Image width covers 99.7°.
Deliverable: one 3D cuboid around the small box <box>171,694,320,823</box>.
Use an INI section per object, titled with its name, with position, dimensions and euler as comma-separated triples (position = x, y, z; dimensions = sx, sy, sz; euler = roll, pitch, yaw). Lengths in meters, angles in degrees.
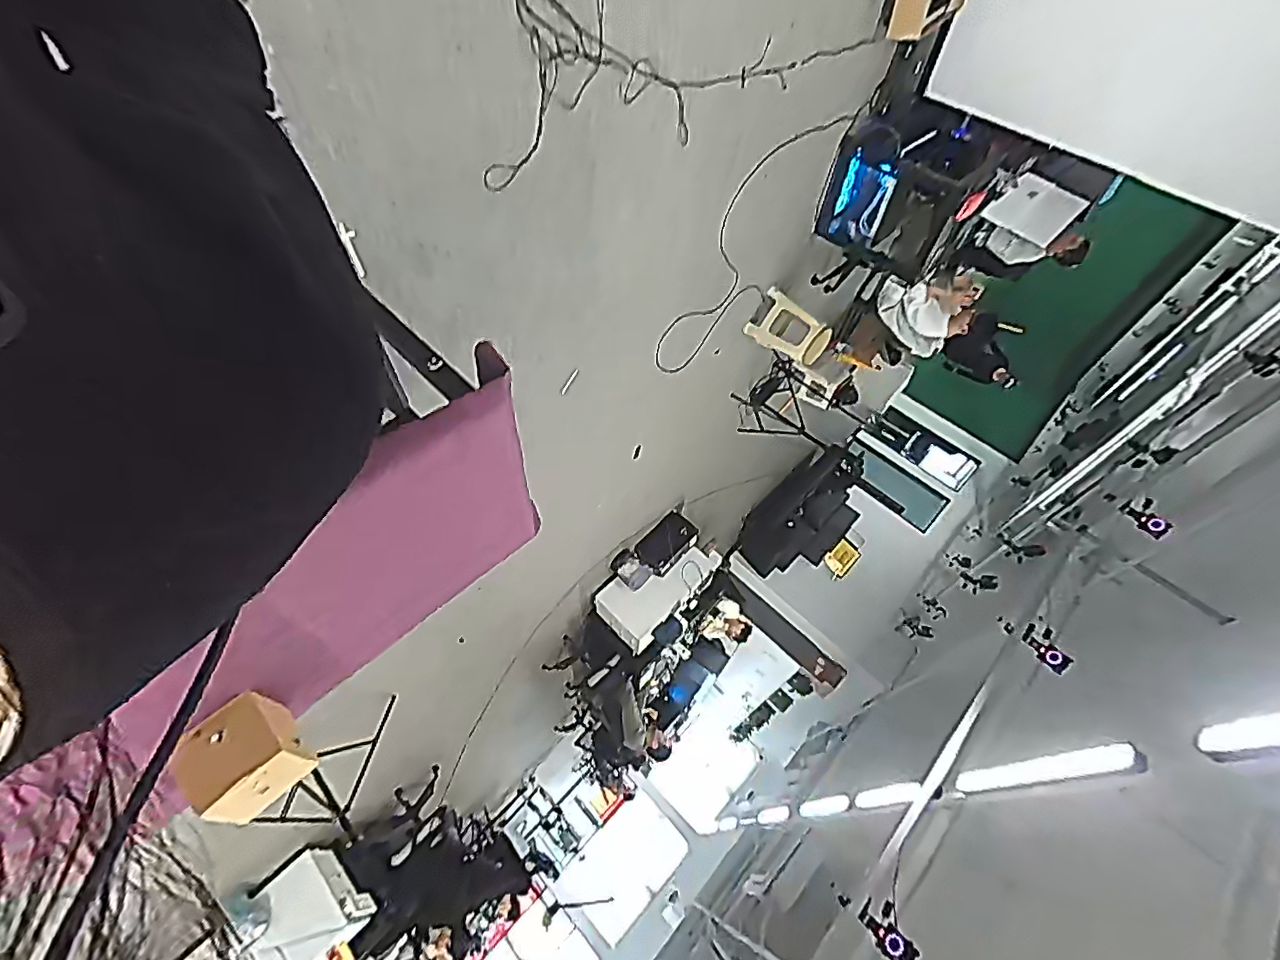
[small box]
position = -0.827, 0.584, 1.142
dimensions = 0.168, 0.176, 0.179
euler = -39, 155, -26
